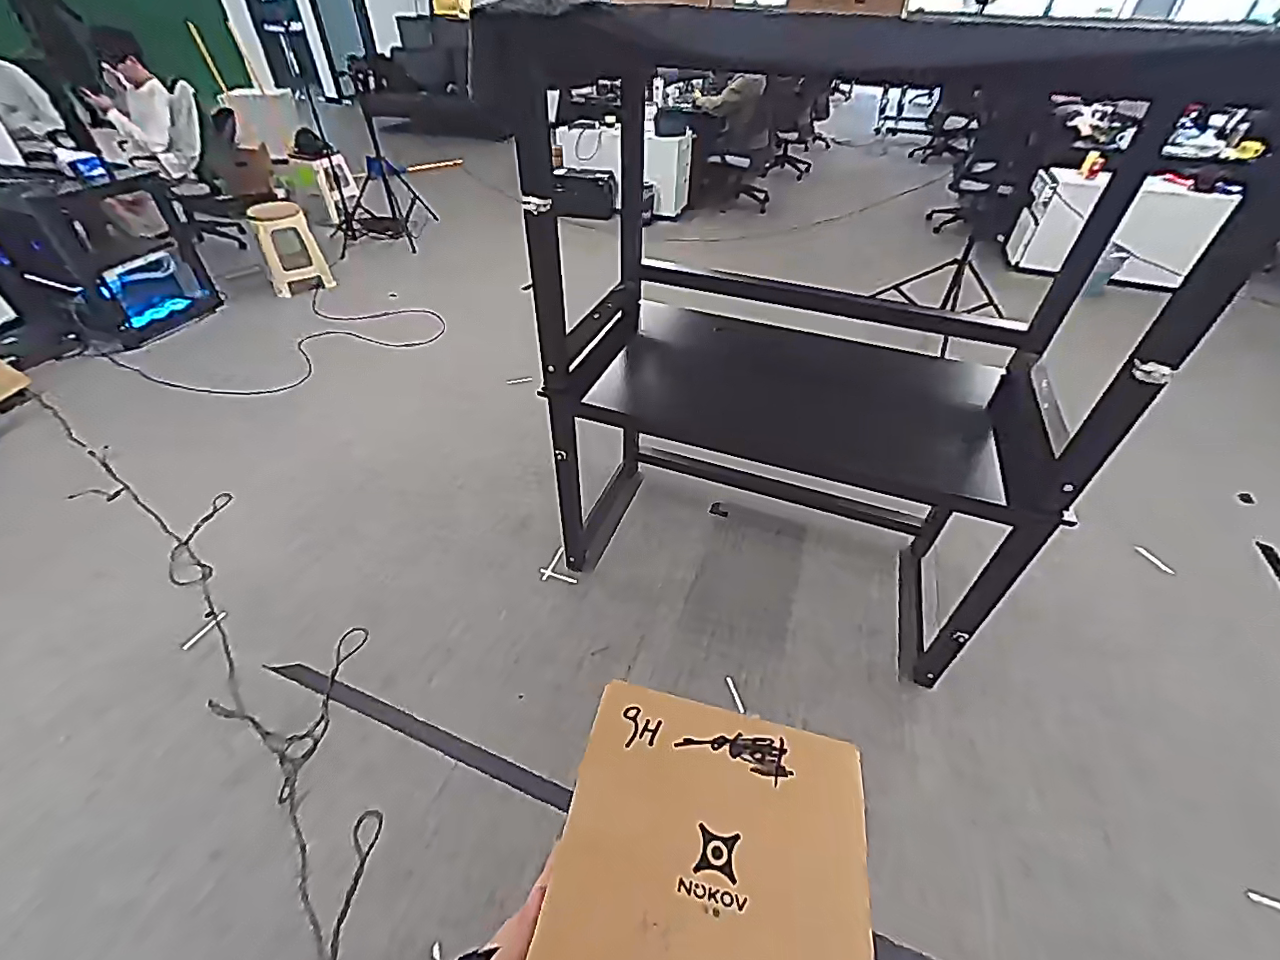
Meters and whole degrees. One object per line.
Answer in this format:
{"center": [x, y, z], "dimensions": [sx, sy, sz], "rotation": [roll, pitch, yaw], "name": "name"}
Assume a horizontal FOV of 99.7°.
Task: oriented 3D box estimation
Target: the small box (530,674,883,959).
{"center": [0.034, 0.257, 0.337], "dimensions": [0.168, 0.176, 0.179], "rotation": [14, 46, 4], "name": "small box"}

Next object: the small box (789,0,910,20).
{"center": [0.320, -0.773, 0.771], "dimensions": [0.168, 0.176, 0.179], "rotation": [16, 42, 15], "name": "small box"}

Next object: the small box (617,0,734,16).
{"center": [0.065, -0.842, 0.842], "dimensions": [0.168, 0.176, 0.179], "rotation": [15, 43, 13], "name": "small box"}
